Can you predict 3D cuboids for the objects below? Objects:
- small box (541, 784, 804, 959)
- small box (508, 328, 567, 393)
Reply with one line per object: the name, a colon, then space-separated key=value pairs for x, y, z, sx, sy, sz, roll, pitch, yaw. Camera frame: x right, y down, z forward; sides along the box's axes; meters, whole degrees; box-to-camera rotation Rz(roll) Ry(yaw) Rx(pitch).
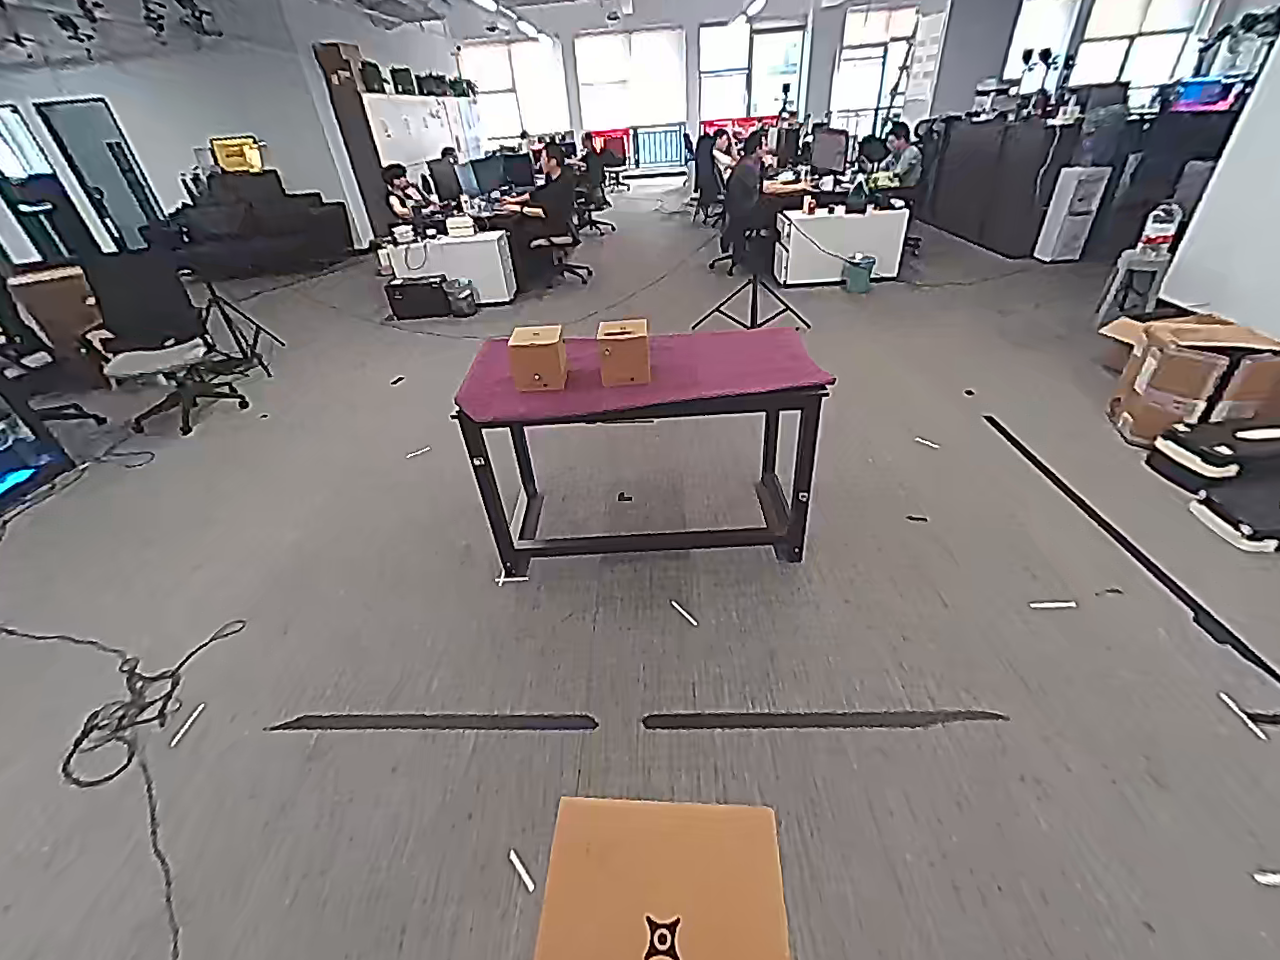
small box: x=0.023 y=0.353 z=0.393 sx=0.168 sy=0.176 sz=0.179 roll=0 pitch=38 yaw=4
small box: x=-0.344 y=-0.410 z=1.859 sx=0.168 sy=0.176 sz=0.179 roll=-4 pitch=35 yaw=0
